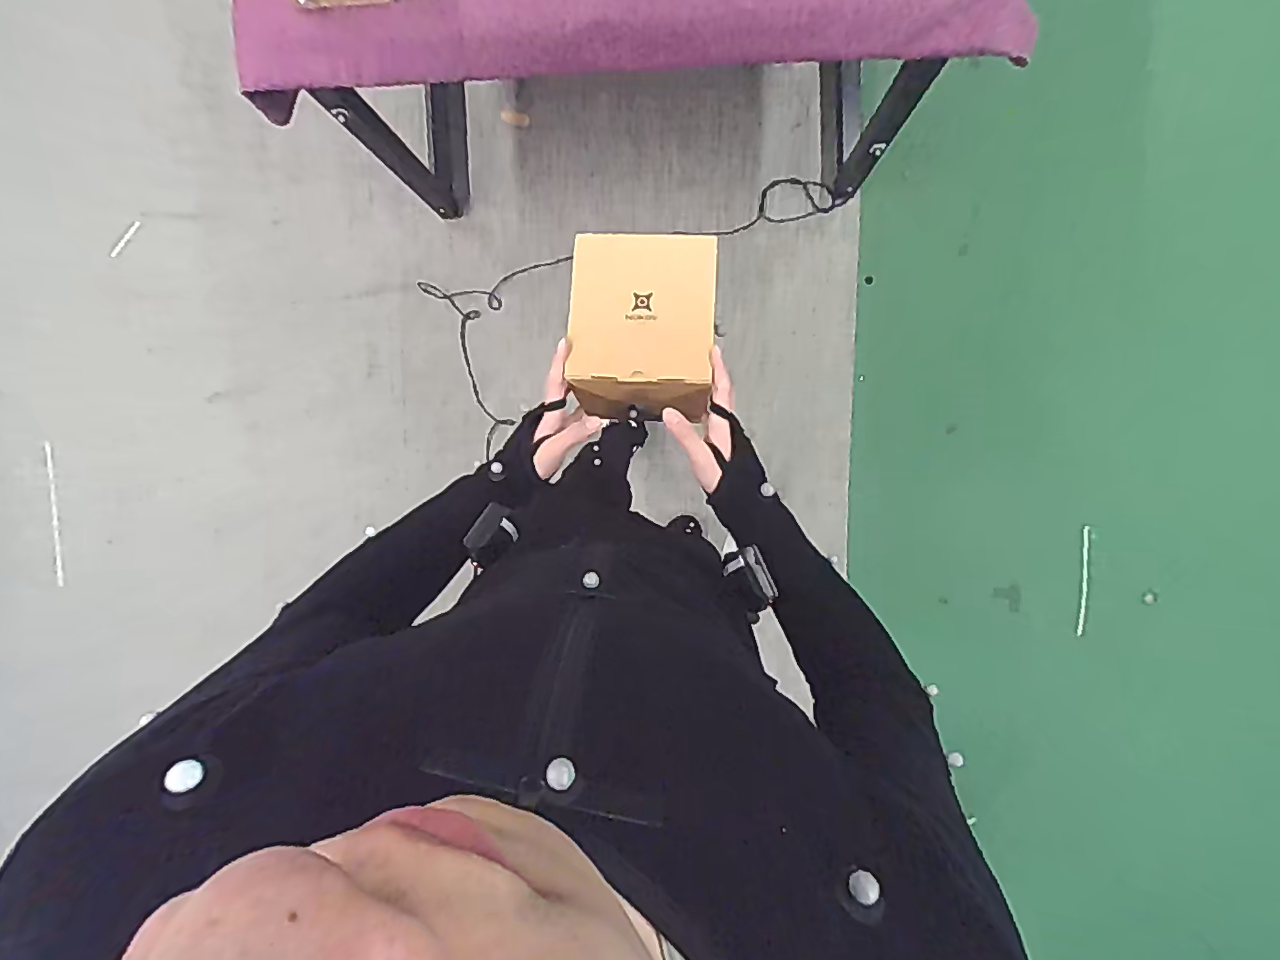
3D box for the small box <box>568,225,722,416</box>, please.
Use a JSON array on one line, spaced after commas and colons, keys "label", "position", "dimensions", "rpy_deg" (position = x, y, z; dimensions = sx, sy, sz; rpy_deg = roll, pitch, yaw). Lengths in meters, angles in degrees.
[{"label": "small box", "position": [0.009, -0.190, 0.681], "dimensions": [0.168, 0.176, 0.179], "rpy_deg": [2, 82, 3]}]
